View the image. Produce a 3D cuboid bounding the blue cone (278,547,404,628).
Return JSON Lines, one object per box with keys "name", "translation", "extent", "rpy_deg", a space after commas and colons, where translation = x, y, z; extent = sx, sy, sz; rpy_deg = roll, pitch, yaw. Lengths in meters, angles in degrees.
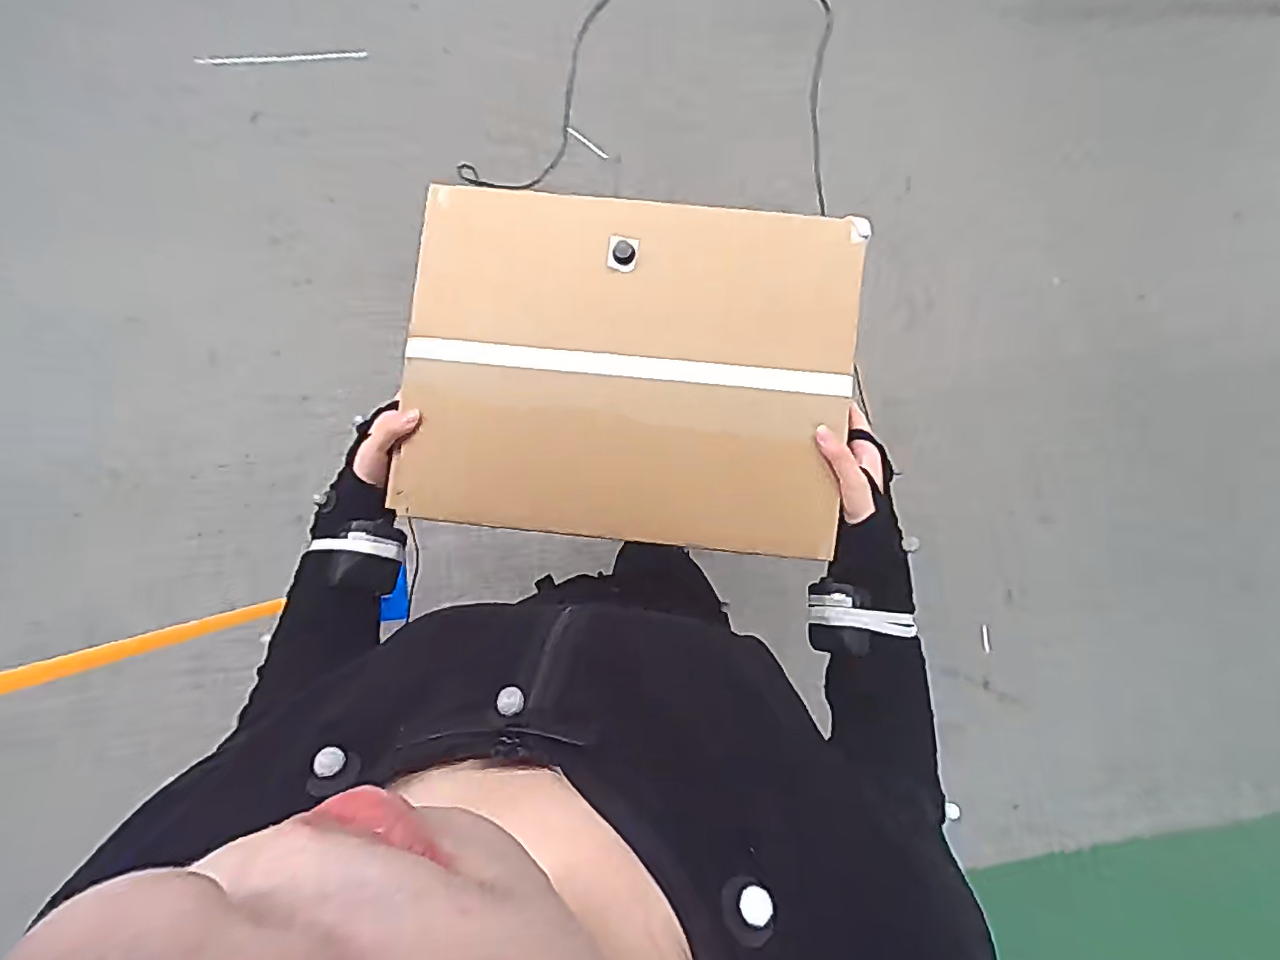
{"name": "blue cone", "translation": [-0.707, 0.264, 1.250], "extent": [0.193, 0.380, 0.192], "rpy_deg": [-8, 85, -4]}
